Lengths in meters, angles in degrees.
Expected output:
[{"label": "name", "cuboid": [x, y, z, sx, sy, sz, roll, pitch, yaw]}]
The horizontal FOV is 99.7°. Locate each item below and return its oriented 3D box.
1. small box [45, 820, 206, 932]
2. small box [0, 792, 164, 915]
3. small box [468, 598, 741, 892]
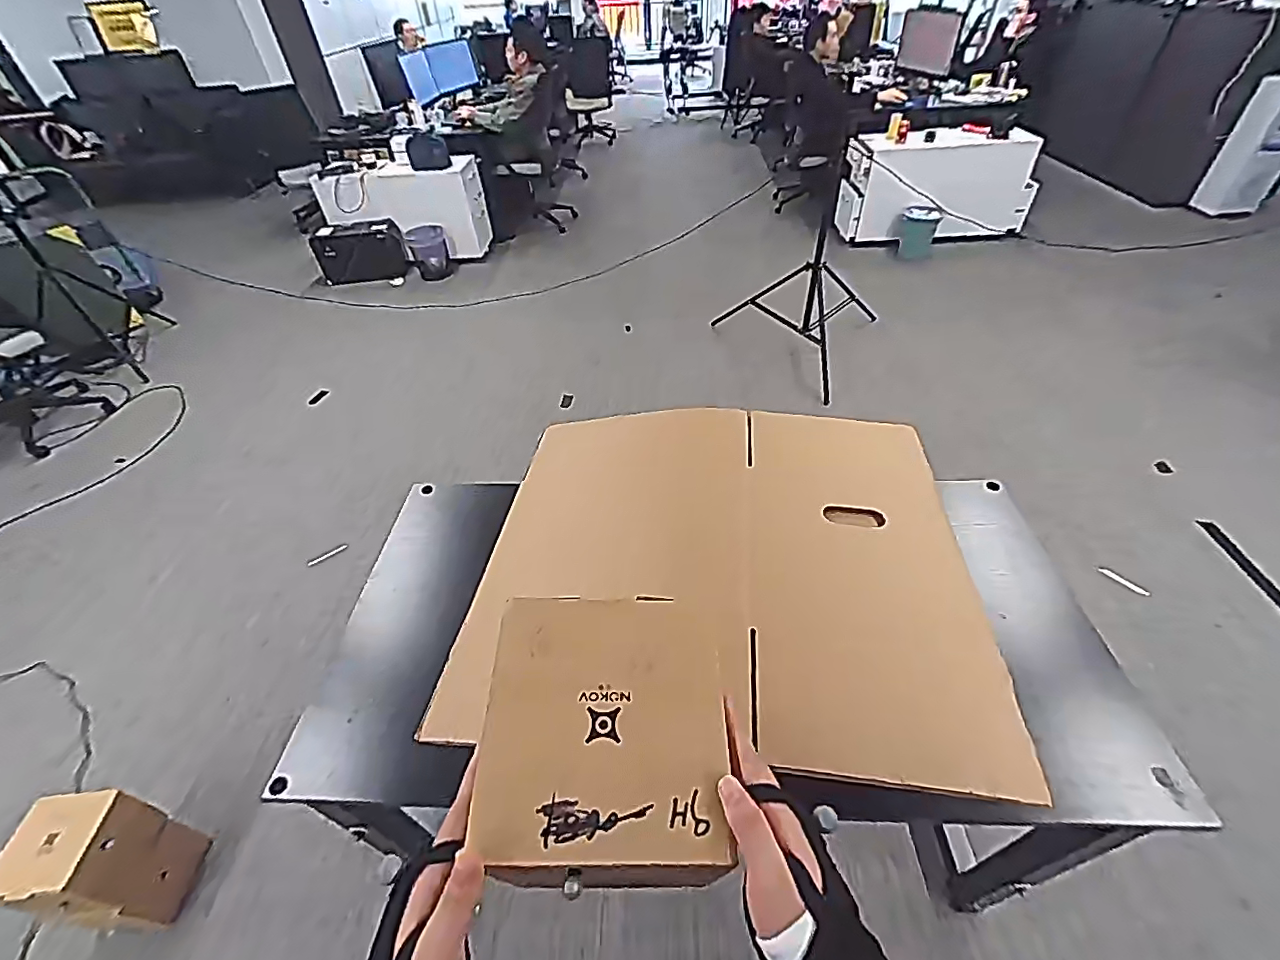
[{"label": "small box", "cuboid": [-1.138, 0.894, 1.221, 0.168, 0.176, 0.179, -4, 44, 1]}, {"label": "small box", "cuboid": [-1.148, 0.773, 1.113, 0.168, 0.176, 0.179, -5, 42, -2]}, {"label": "small box", "cuboid": [-0.022, 0.212, 0.433, 0.168, 0.176, 0.179, -1, 49, 0]}]
